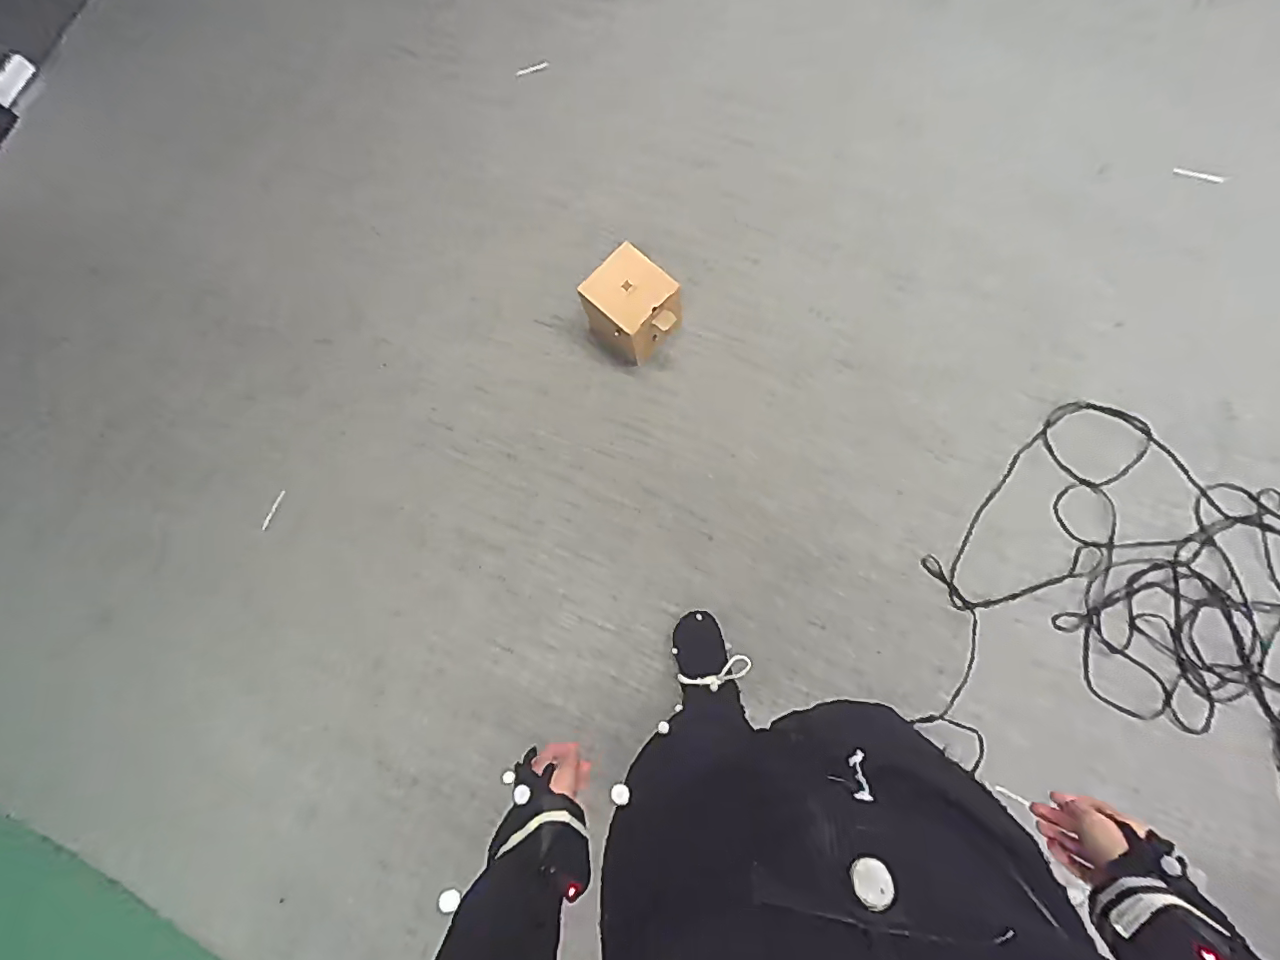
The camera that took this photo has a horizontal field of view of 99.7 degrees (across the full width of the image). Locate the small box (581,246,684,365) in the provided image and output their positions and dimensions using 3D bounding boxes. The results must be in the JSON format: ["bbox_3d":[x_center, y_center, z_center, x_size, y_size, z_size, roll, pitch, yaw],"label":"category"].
[{"bbox_3d":[-0.012,-0.407,1.290,0.179,0.176,0.168,43,84,12],"label":"small box"}]
